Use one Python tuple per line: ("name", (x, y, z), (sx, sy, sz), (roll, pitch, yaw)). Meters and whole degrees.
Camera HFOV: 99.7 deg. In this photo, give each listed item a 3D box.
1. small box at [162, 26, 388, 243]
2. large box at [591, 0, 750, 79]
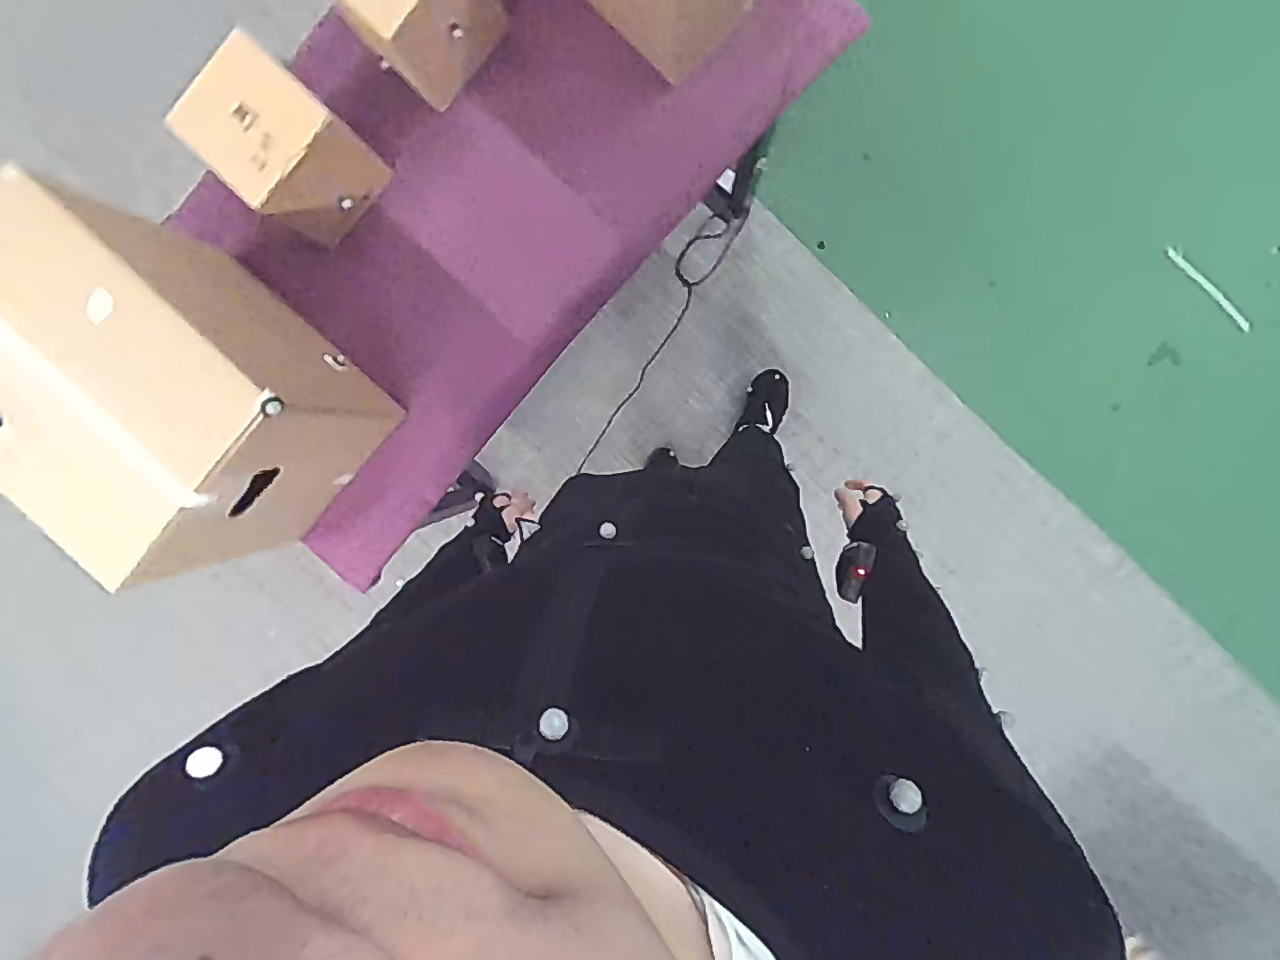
("small box", (-0.523, -0.489, 0.799), (0.179, 0.176, 0.168), (44, 97, -1))
("large box", (0.007, -0.839, 0.665), (0.408, 0.320, 0.320), (44, 98, -1))
